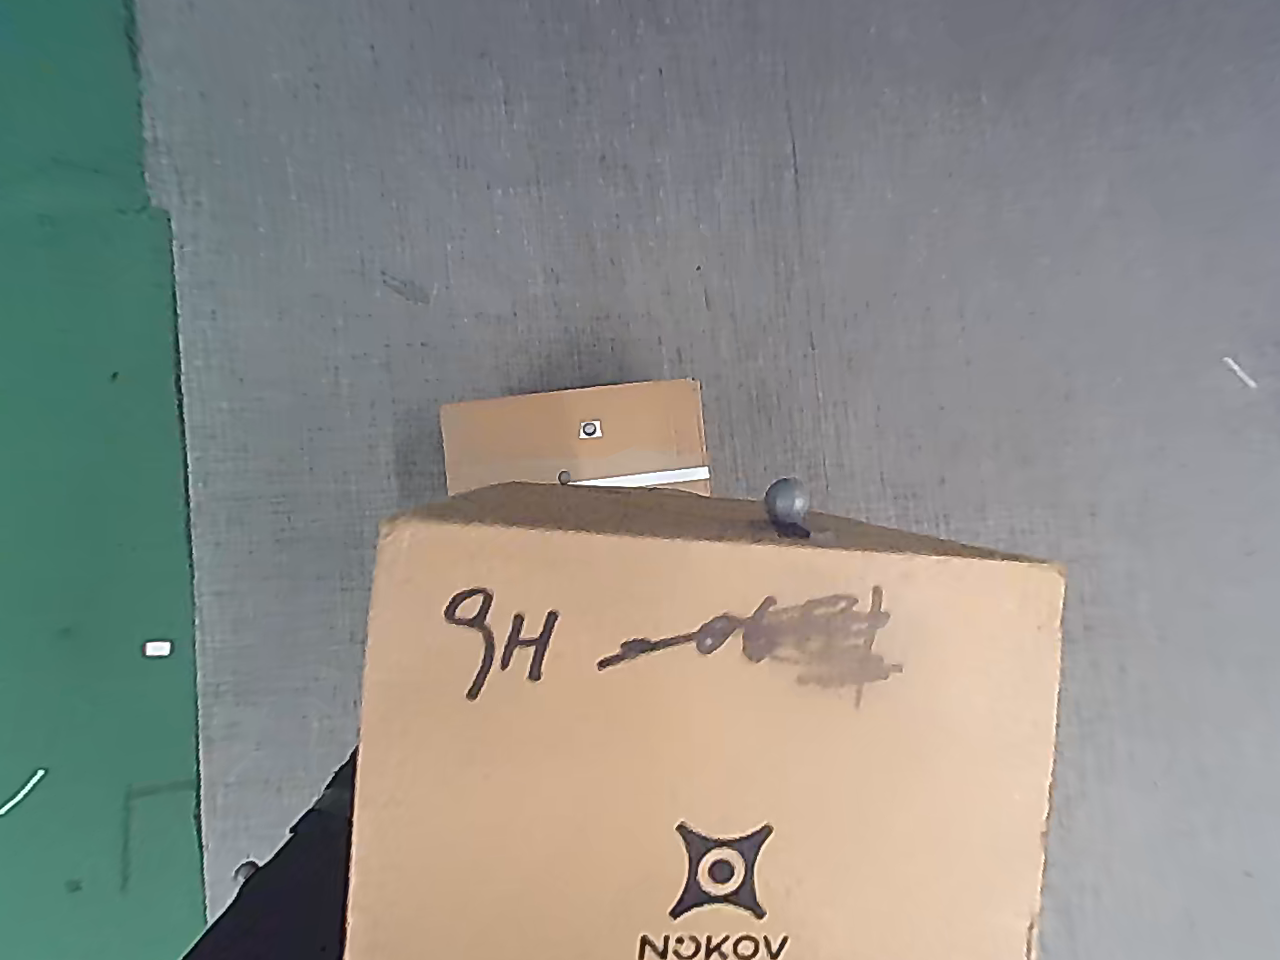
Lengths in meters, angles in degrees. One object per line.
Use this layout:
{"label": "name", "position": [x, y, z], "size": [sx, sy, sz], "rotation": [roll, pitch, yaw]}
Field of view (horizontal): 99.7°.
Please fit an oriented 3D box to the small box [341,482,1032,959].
{"label": "small box", "position": [0.005, 0.098, 0.216], "size": [0.168, 0.176, 0.179], "rotation": [4, 93, -5]}
